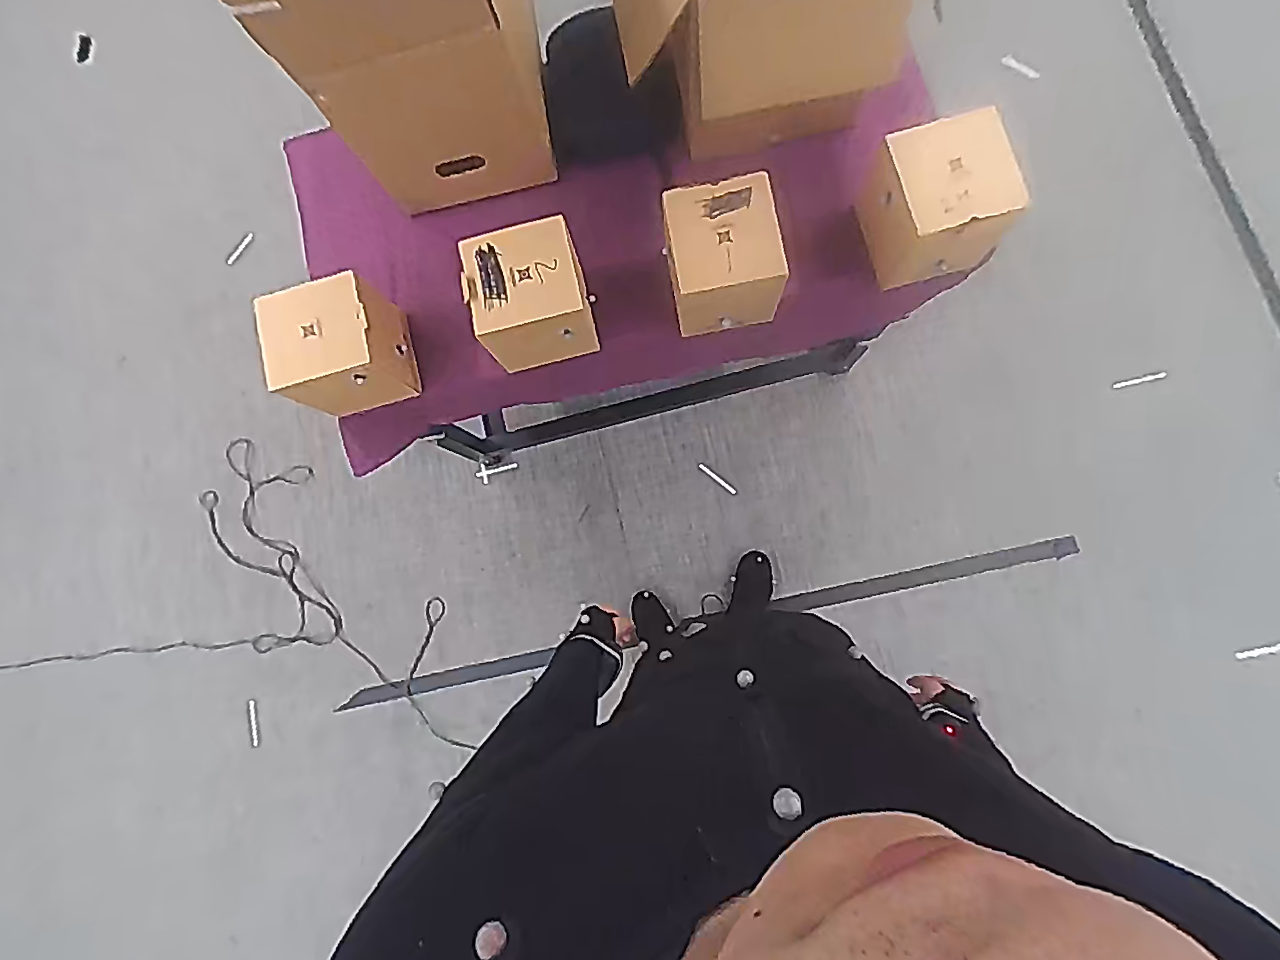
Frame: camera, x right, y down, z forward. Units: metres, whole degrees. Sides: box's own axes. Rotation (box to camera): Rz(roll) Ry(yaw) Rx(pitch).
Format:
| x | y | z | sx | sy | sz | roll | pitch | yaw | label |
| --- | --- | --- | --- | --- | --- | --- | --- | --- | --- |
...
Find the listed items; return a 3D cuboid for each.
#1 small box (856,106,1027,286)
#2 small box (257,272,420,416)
| x | y | z | sx | sy | sz | roll | pitch | yaw | label |
| --- | --- | --- | --- | --- | --- | --- | --- | --- | --- |
| 0.472 | -0.450 | 0.880 | 0.168 | 0.176 | 0.179 | -14 | 81 | 4 | small box |
| -0.514 | -0.225 | 0.940 | 0.179 | 0.176 | 0.168 | -16 | 81 | 1 | small box |
